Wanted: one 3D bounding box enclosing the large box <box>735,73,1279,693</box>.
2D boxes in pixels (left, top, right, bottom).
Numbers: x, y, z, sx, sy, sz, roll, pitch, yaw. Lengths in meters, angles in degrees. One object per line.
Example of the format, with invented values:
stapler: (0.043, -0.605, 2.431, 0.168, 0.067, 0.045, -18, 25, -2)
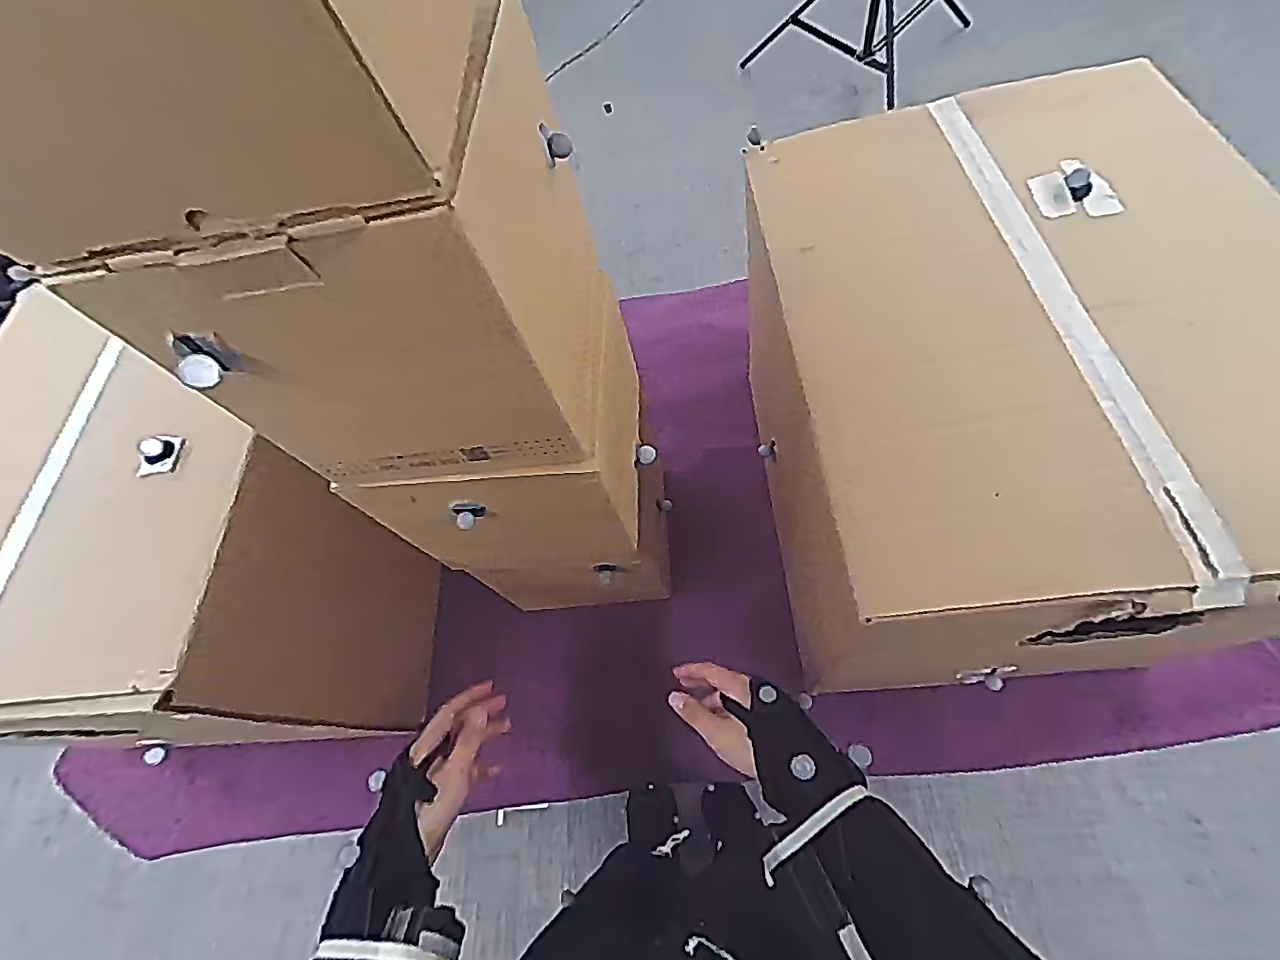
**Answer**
large box: (0.275, -0.058, 0.478, 0.320, 0.320, 0.408, -8, 60, 7)
